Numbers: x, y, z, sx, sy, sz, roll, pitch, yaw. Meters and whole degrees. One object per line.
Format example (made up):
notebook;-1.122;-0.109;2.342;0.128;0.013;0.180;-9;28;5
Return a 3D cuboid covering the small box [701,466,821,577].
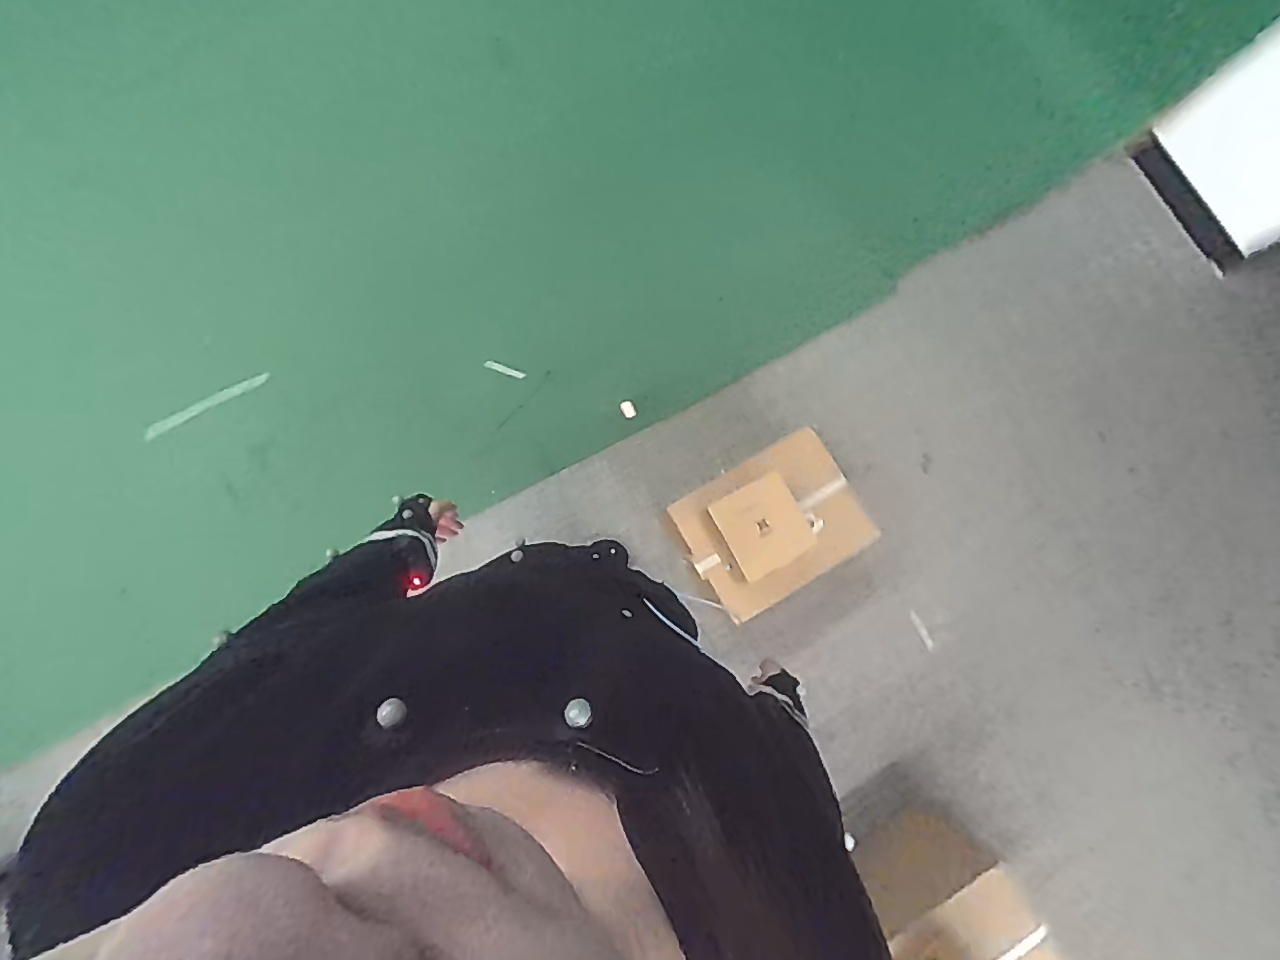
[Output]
small box;0.247;0.091;1.148;0.168;0.176;0.179;-26;83;-6

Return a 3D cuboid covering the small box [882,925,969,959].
small box;0.611;1.042;1.055;0.168;0.176;0.179;-31;84;-5

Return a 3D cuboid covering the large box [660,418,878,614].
large box;0.305;0.100;1.396;0.408;0.320;0.320;-29;85;-6
